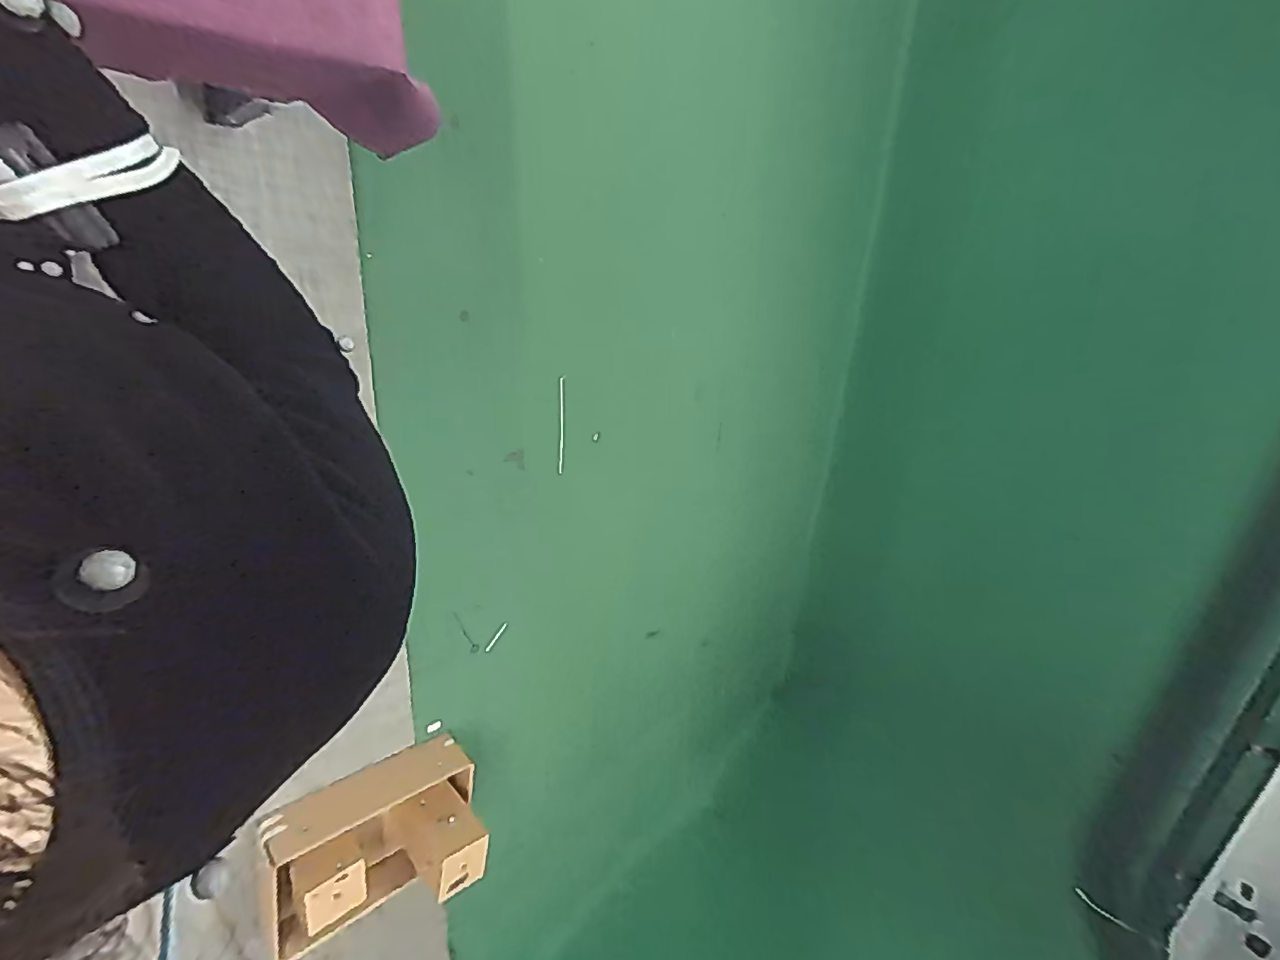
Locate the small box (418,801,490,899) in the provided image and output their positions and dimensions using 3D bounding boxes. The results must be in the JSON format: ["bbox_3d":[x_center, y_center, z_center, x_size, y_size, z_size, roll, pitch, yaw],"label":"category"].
[{"bbox_3d":[-0.628,1.230,1.813,0.168,0.176,0.179,-3,108,-48],"label":"small box"}]

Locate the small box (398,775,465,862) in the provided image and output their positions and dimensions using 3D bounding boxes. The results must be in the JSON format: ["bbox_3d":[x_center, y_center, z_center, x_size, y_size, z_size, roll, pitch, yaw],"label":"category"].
[{"bbox_3d":[-0.744,1.186,1.920,0.168,0.176,0.179,-5,110,-47],"label":"small box"}]
